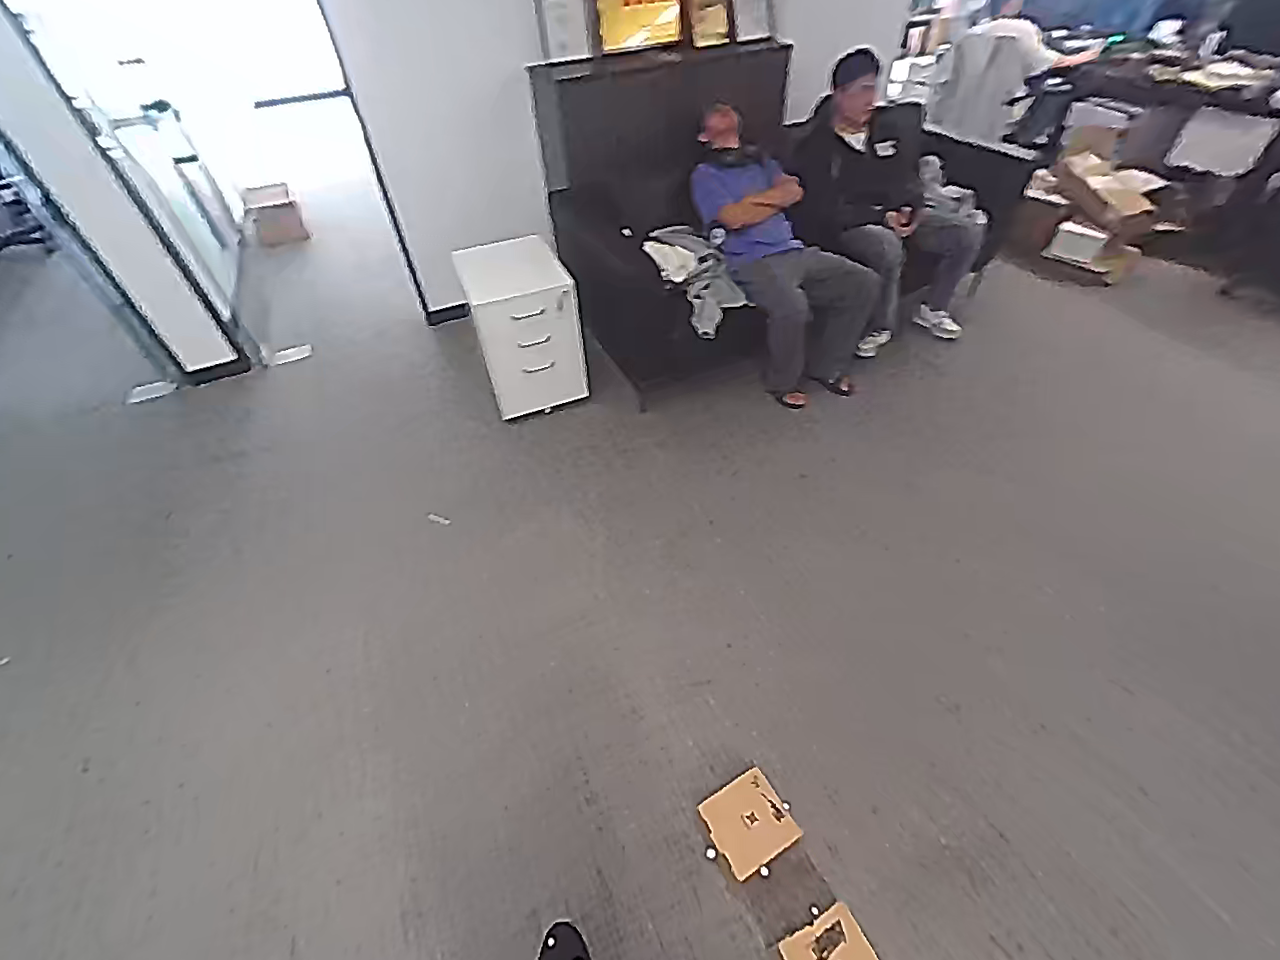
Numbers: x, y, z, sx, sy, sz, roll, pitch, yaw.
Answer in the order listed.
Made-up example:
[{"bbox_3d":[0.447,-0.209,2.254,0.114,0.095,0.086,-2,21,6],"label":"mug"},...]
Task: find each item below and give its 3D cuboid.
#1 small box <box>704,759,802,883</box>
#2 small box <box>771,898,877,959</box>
[{"bbox_3d":[0.260,0.806,1.273,0.179,0.176,0.168,21,48,24],"label":"small box"},{"bbox_3d":[0.379,0.992,1.088,0.168,0.176,0.179,-19,46,-11],"label":"small box"}]
